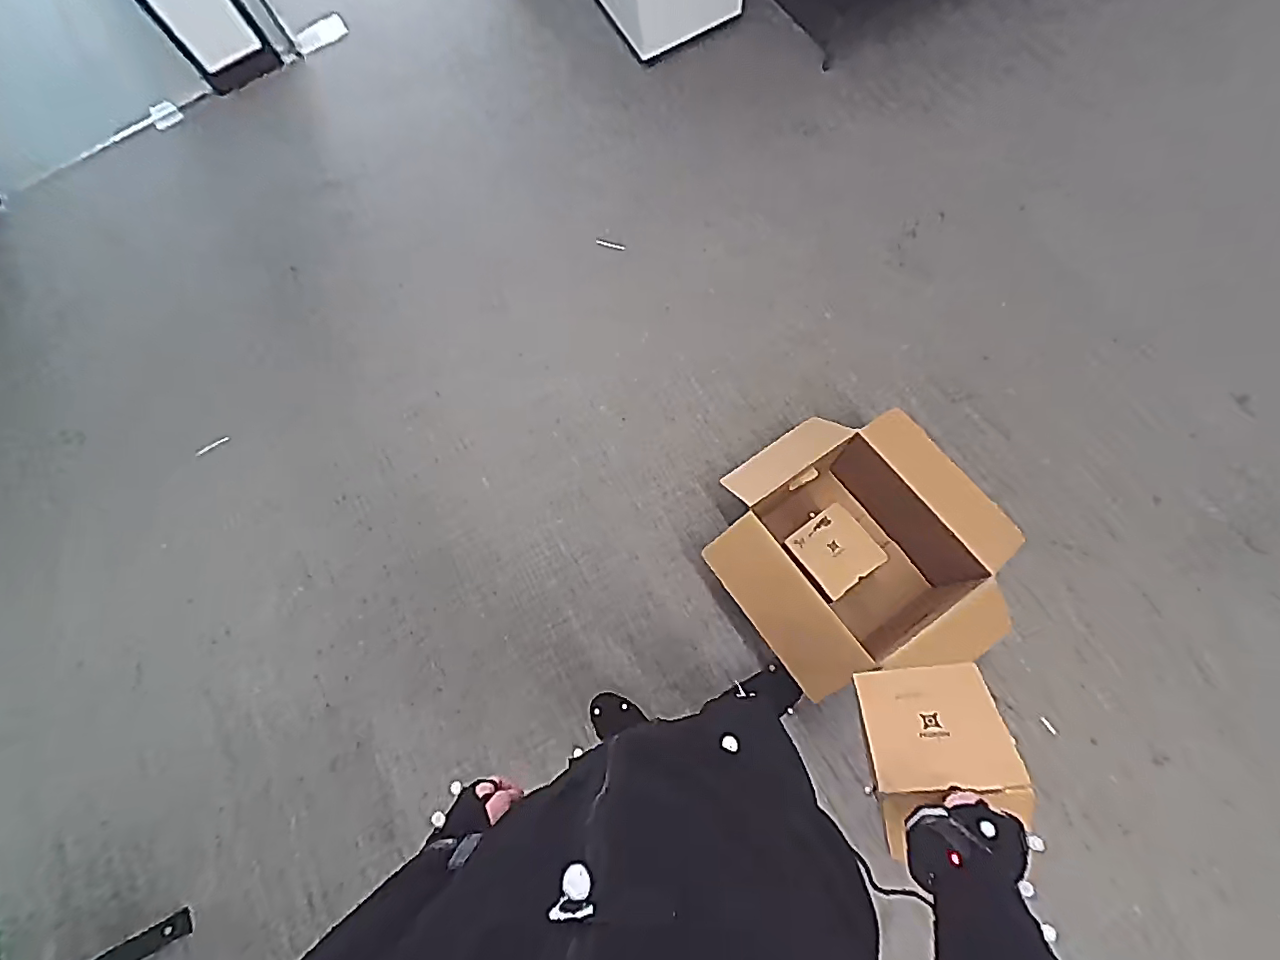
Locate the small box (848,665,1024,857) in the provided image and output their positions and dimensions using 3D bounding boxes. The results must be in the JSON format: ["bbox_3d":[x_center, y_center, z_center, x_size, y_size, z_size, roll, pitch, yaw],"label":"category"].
[{"bbox_3d":[0.394,0.384,0.739,0.168,0.176,0.179,-10,29,14],"label":"small box"}]
